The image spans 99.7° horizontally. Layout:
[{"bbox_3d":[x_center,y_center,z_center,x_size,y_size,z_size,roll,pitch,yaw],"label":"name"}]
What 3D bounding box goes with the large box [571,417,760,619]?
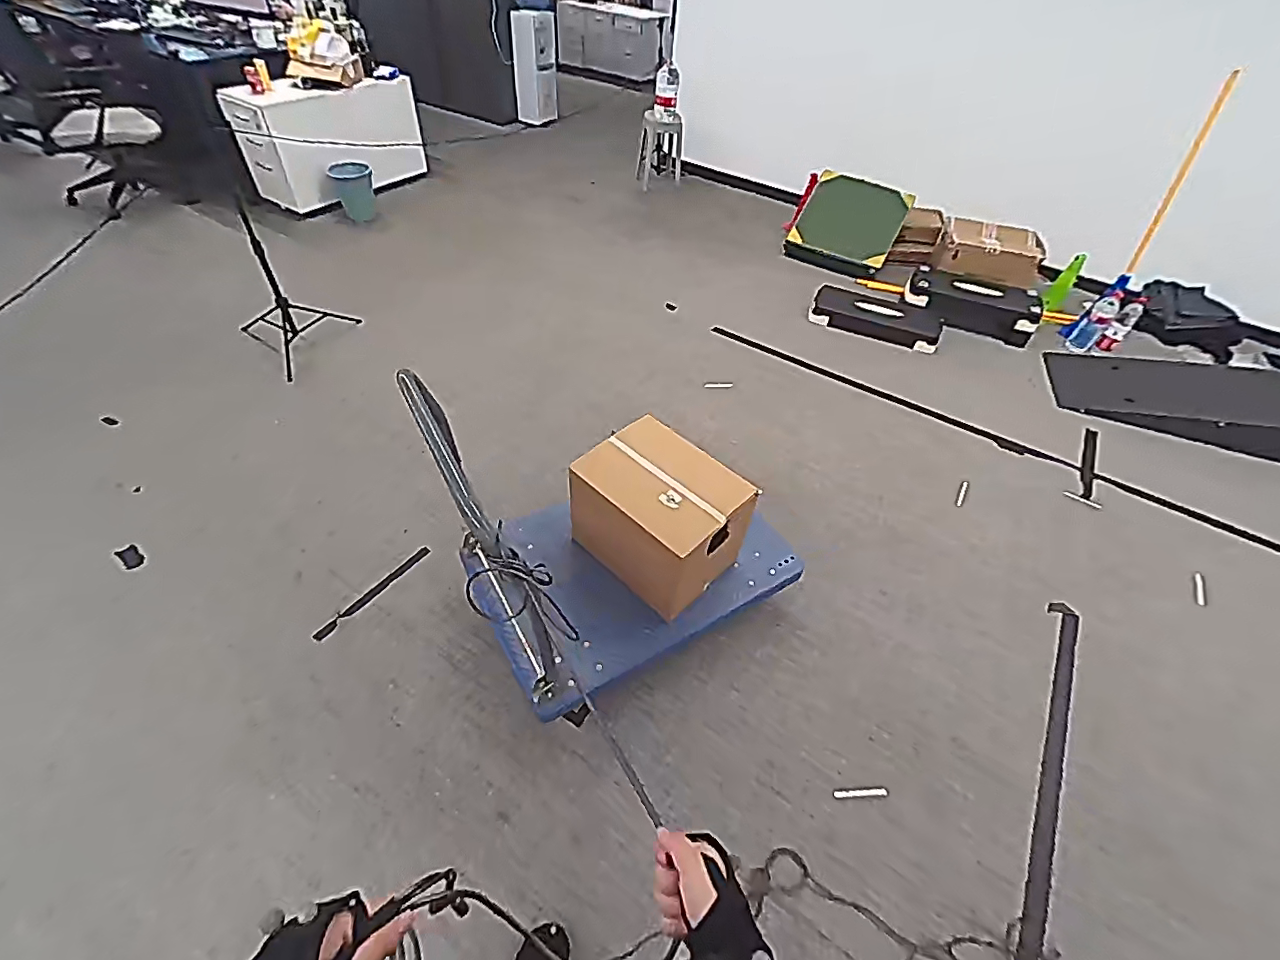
[{"bbox_3d":[0.051,0.098,1.504,0.408,0.320,0.320,38,56,25],"label":"large box"}]
